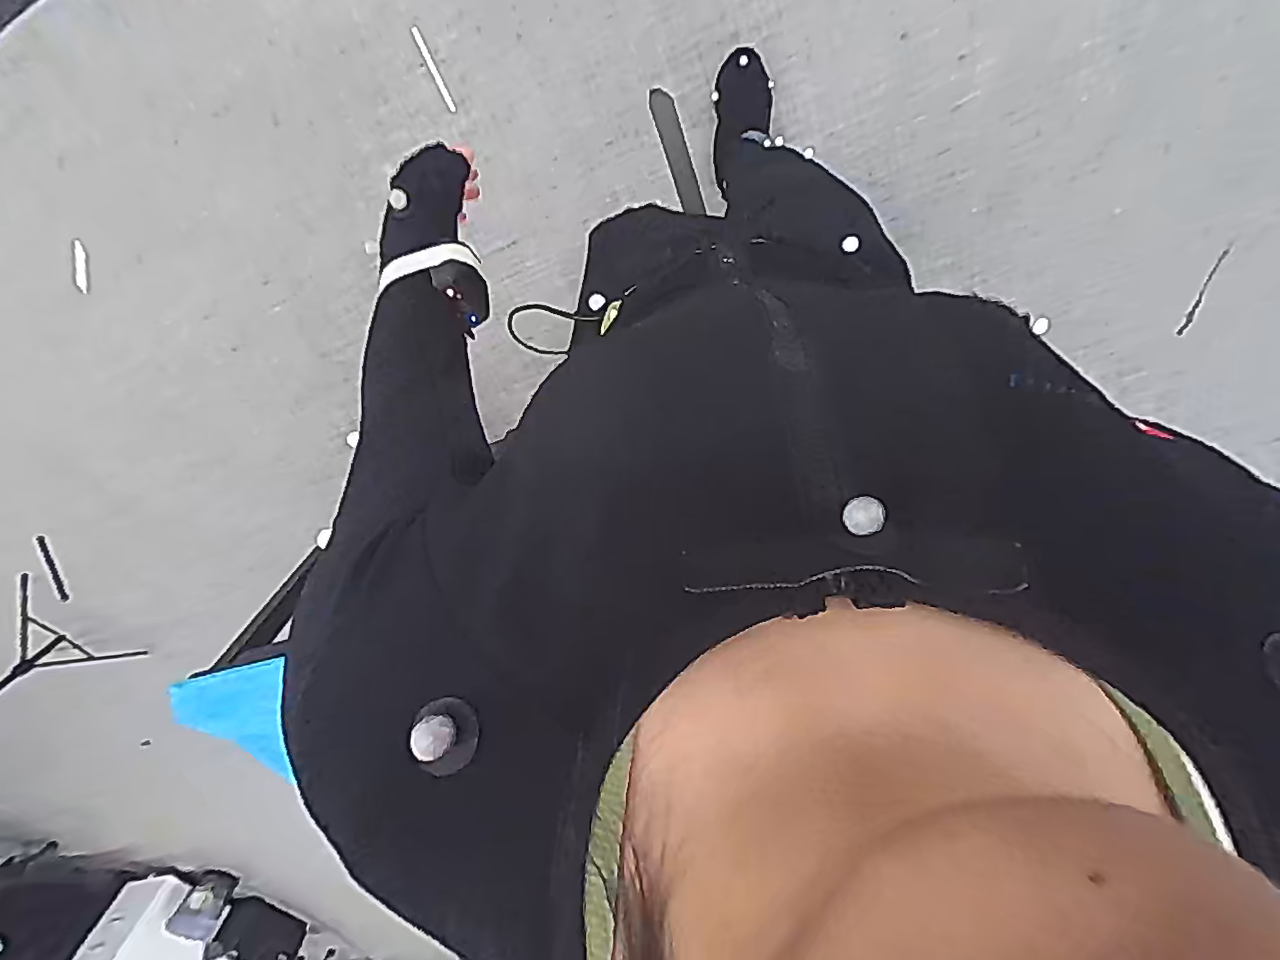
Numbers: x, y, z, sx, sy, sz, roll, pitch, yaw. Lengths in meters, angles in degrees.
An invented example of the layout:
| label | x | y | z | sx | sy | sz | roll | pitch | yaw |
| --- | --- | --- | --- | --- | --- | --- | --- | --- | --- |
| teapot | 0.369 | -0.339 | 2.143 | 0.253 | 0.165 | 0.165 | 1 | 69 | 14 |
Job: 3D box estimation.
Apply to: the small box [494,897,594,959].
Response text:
| label | x | y | z | sx | sy | sz | roll | pitch | yaw |
| --- | --- | --- | --- | --- | --- | --- | --- | --- | --- |
| small box | -0.222 | 1.096 | 1.238 | 0.168 | 0.176 | 0.179 | -17 | 120 | 16 |

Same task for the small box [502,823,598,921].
| label | x | y | z | sx | sy | sz | roll | pitch | yaw |
| --- | --- | --- | --- | --- | --- | --- | --- | --- | --- |
| small box | -0.220 | 1.011 | 1.382 | 0.179 | 0.176 | 0.168 | -17 | 122 | 13 |
